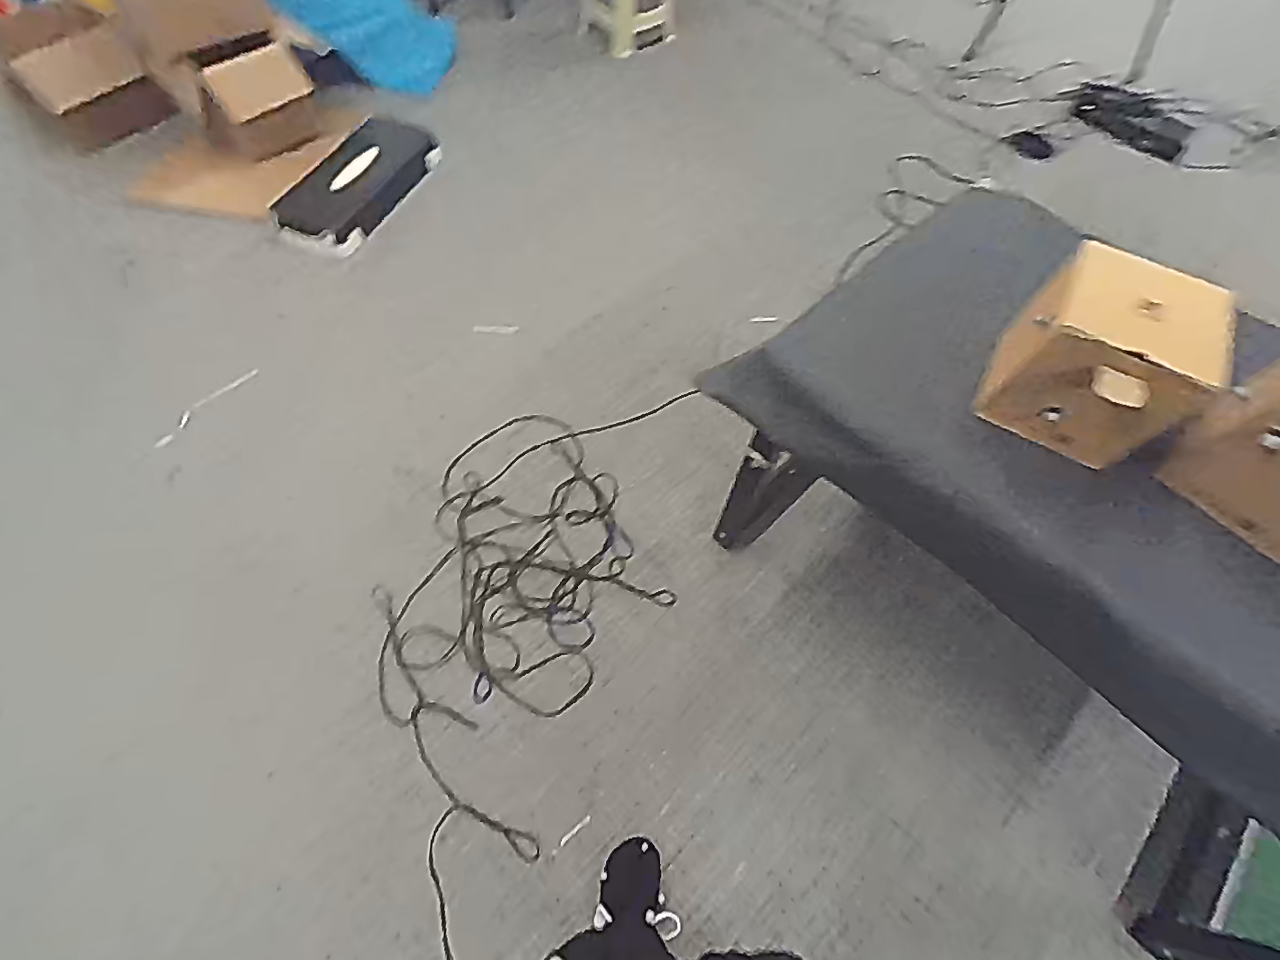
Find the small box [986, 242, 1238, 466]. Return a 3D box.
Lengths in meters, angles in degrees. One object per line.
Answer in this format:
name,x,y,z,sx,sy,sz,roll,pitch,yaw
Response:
small box,0.576,-0.152,0.678,0.168,0.176,0.179,30,64,12
